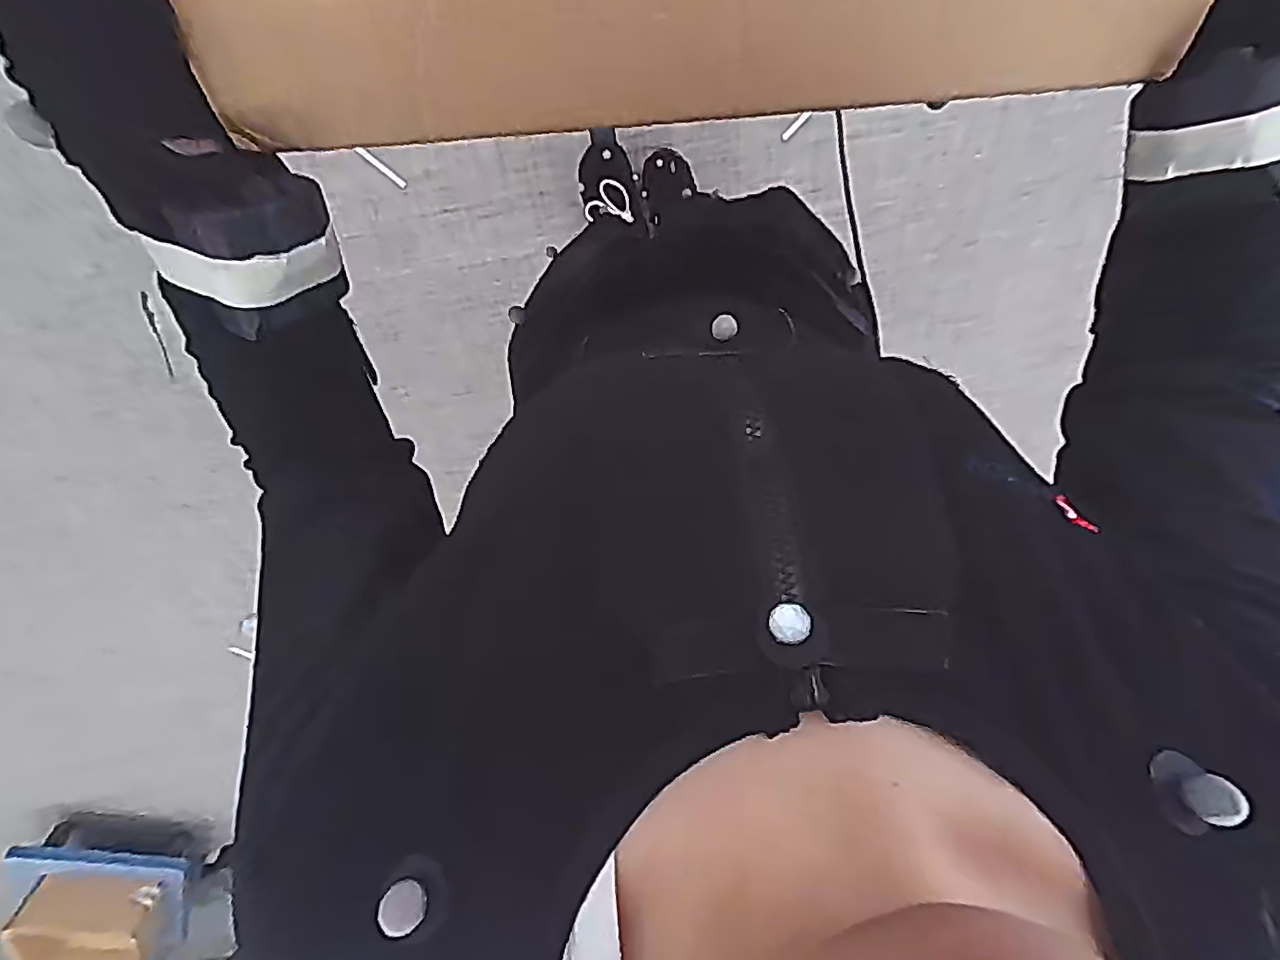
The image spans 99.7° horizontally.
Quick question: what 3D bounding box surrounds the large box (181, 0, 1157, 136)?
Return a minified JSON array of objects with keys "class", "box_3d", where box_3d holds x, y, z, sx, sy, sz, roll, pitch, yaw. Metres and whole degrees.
[{"class":"large box","box_3d":[0.006,-0.383,0.230,0.408,0.320,0.320,-6,136,-2]}]
